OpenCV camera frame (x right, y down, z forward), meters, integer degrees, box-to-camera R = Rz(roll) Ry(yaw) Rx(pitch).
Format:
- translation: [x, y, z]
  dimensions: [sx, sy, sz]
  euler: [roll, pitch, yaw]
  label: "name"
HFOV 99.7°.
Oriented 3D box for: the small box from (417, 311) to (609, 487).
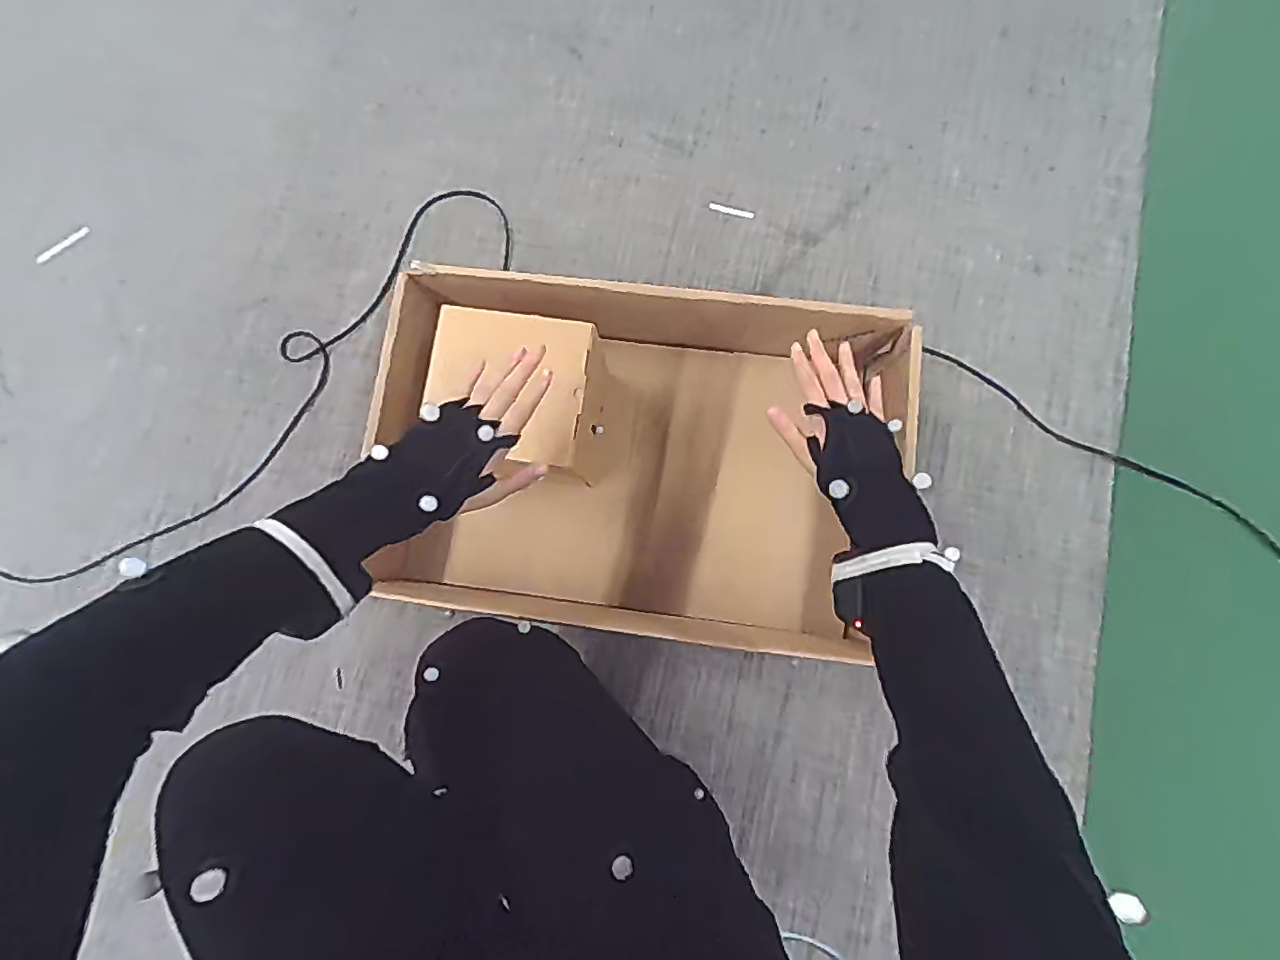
- translation: [-0.143, -0.089, 0.671]
  dimensions: [0.179, 0.176, 0.168]
  euler: [8, 83, 4]
  label: "small box"
